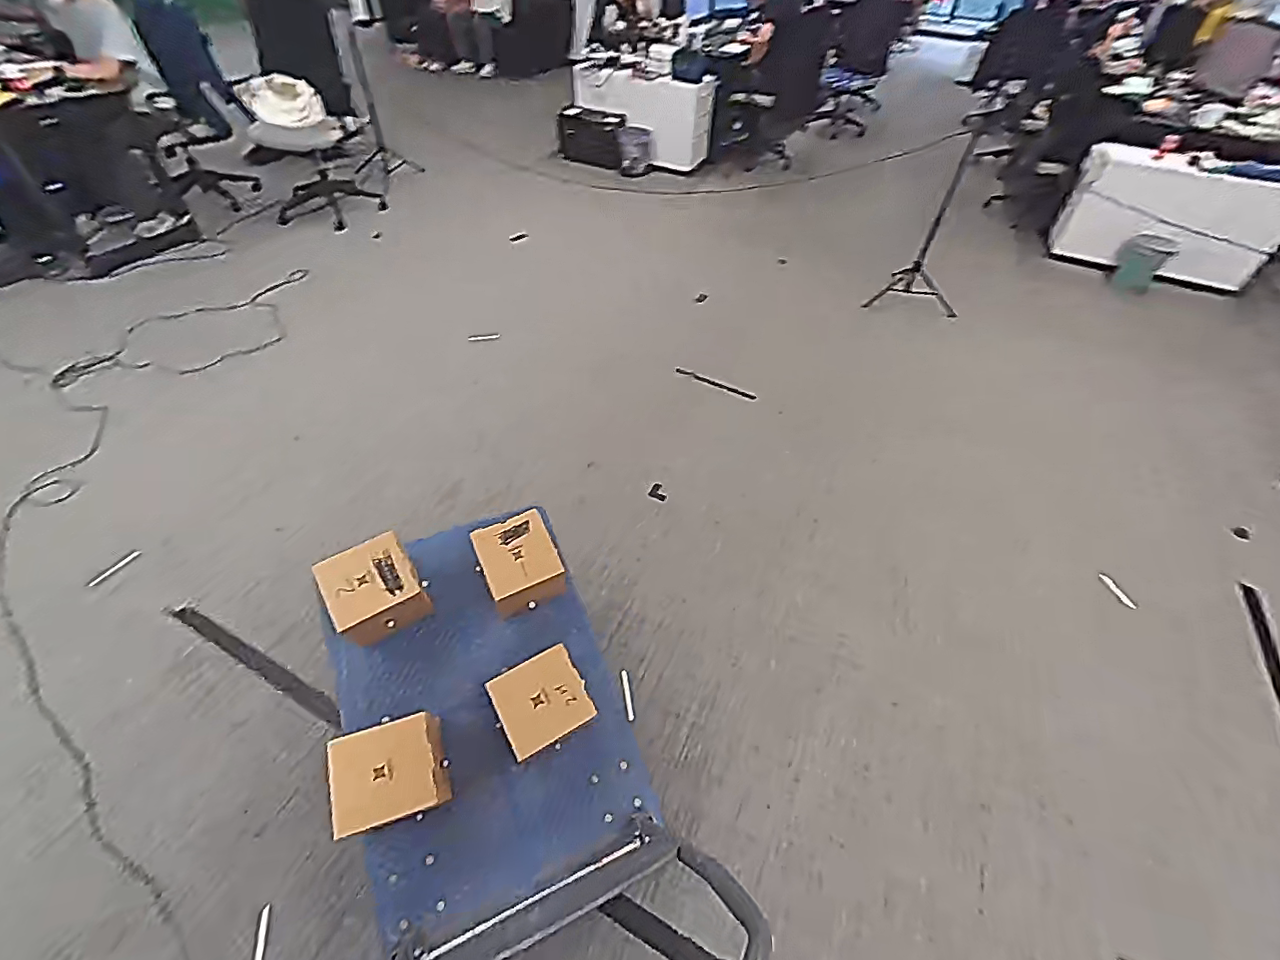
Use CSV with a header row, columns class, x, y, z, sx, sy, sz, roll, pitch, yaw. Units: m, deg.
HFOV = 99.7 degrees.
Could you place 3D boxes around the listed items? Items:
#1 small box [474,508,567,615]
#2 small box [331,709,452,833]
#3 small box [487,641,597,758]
class,x,y,z,sx,sy,sz,roll,pitch,yaw
small box,-0.287,0.199,1.304,0.168,0.176,0.179,-21,68,-19
small box,-0.484,0.573,1.067,0.179,0.176,0.168,-12,64,-17
small box,-0.207,0.478,1.164,0.179,0.176,0.168,-24,68,-20
